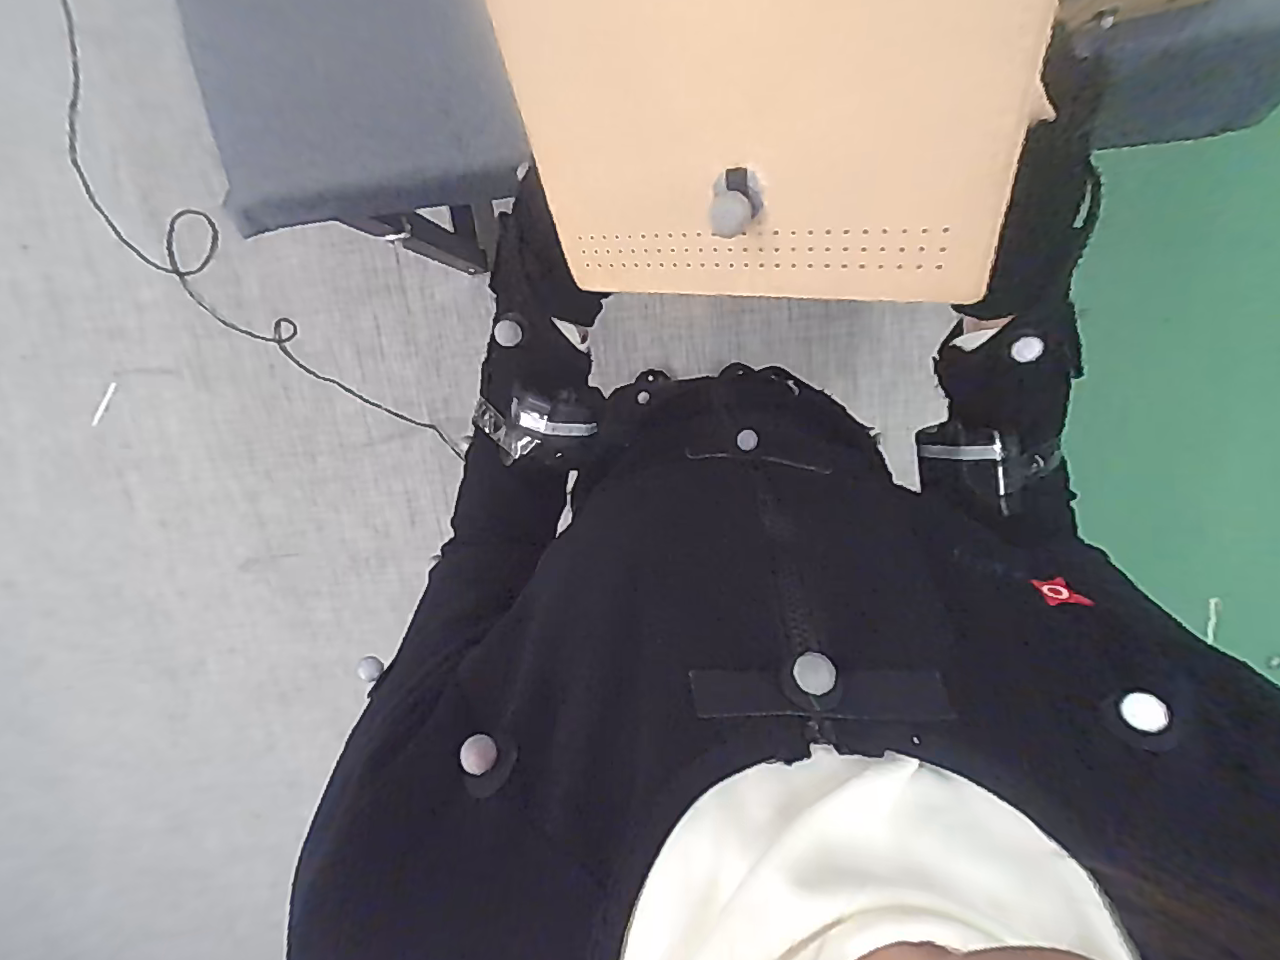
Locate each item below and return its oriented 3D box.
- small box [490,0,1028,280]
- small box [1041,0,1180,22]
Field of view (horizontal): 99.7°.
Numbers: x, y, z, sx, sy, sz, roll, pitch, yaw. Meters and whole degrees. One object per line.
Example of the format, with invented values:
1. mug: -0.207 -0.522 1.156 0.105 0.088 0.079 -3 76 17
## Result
1. small box: 0.059 -0.198 0.223 0.179 0.168 0.176 11 140 25
2. small box: 0.482 -0.547 0.469 0.168 0.176 0.179 -11 101 5
